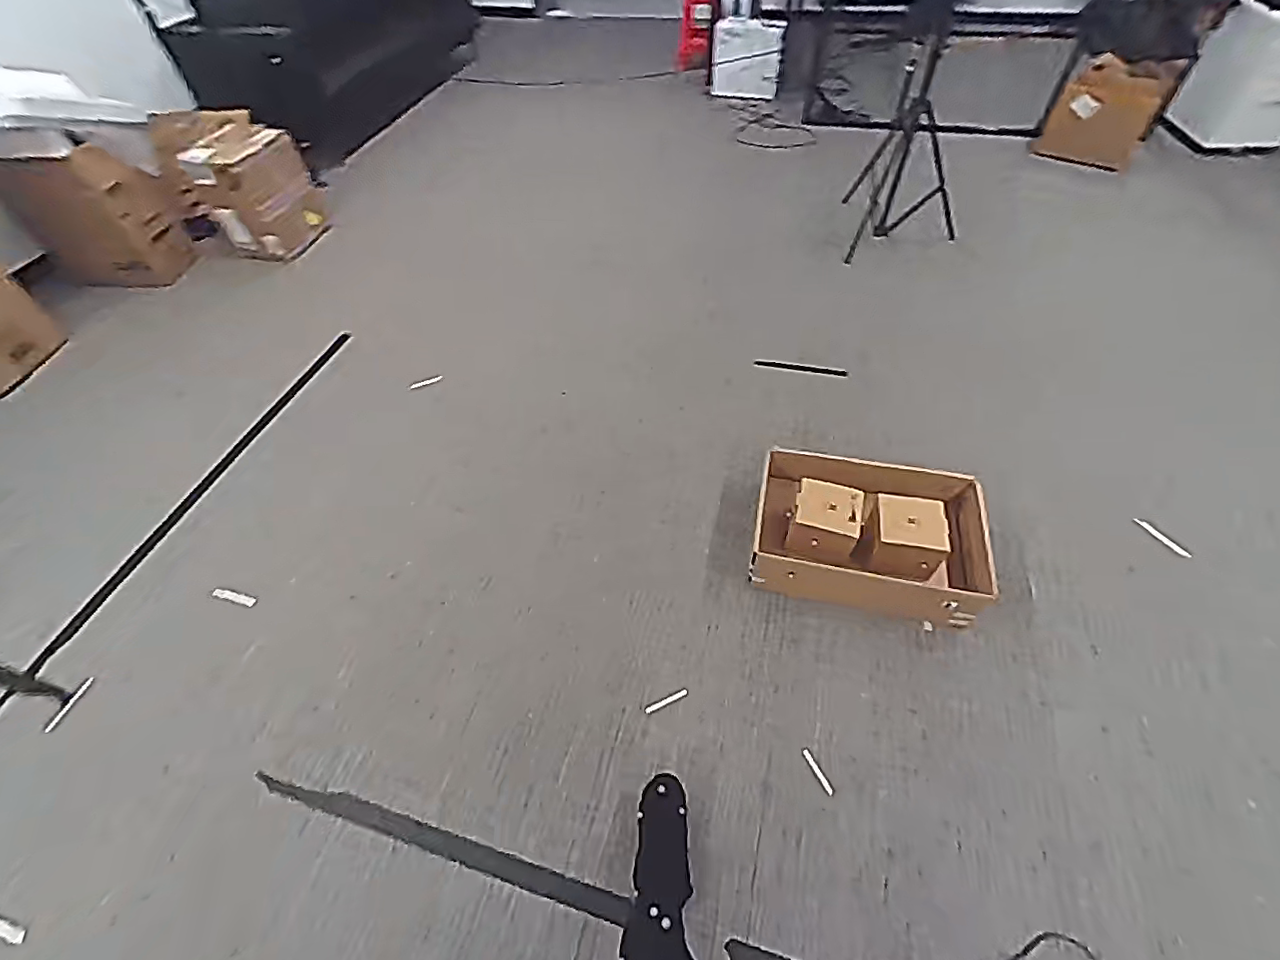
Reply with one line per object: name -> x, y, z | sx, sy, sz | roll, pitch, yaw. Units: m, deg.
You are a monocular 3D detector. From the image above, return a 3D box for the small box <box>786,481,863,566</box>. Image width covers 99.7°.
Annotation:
small box -> 0.535, 0.131, 1.582 | 0.179, 0.176, 0.168 | 13, 55, 13

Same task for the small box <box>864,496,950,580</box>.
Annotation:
small box -> 0.753, 0.168, 1.542 | 0.179, 0.176, 0.168 | 7, 53, 11
